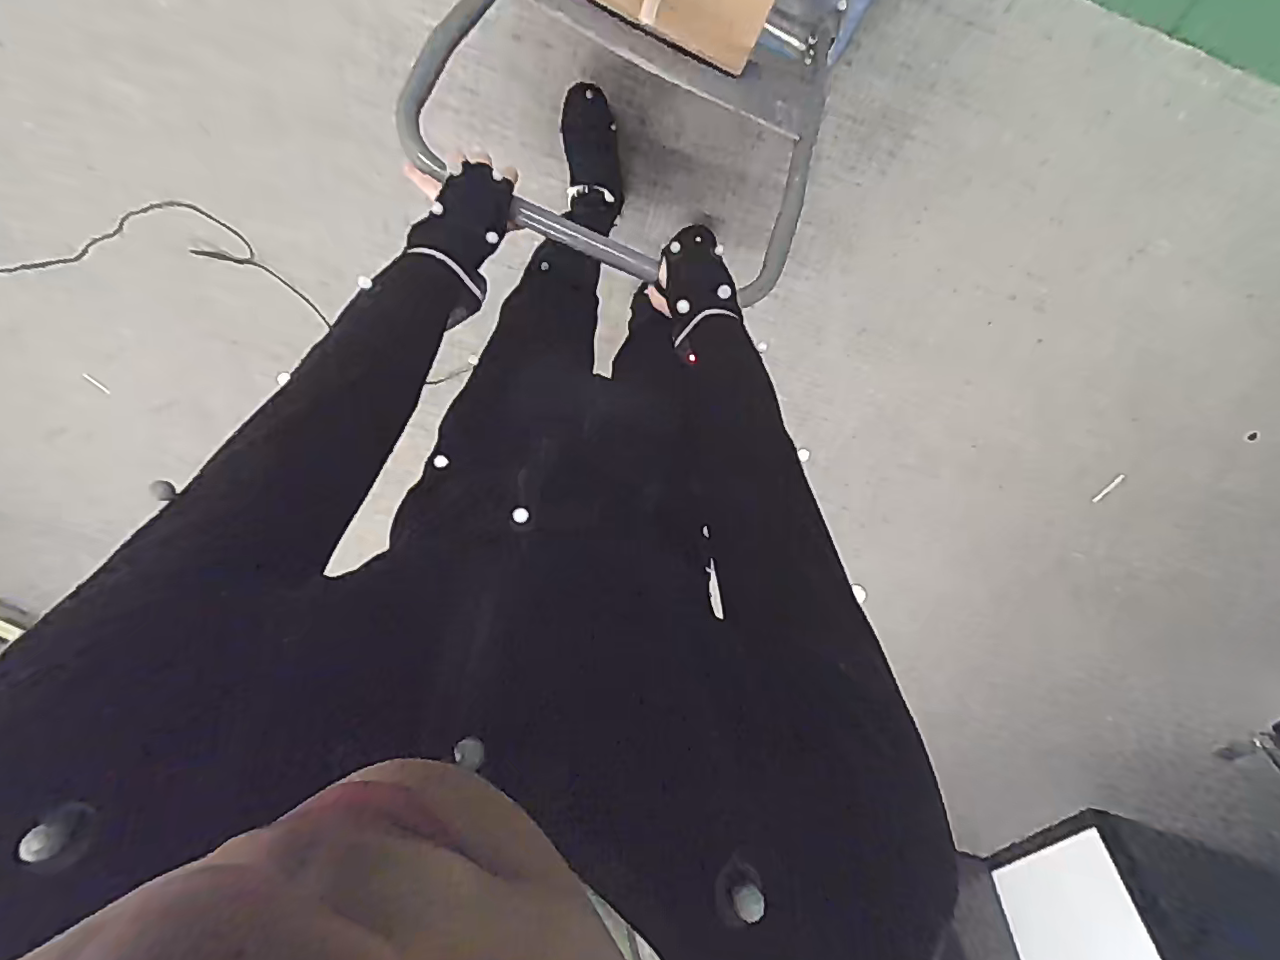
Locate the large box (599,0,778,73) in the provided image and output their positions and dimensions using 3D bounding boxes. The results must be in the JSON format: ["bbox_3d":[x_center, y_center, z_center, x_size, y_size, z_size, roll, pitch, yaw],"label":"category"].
[{"bbox_3d":[0.109,-0.867,0.699,0.320,0.320,0.408,21,148,-9],"label":"large box"}]
